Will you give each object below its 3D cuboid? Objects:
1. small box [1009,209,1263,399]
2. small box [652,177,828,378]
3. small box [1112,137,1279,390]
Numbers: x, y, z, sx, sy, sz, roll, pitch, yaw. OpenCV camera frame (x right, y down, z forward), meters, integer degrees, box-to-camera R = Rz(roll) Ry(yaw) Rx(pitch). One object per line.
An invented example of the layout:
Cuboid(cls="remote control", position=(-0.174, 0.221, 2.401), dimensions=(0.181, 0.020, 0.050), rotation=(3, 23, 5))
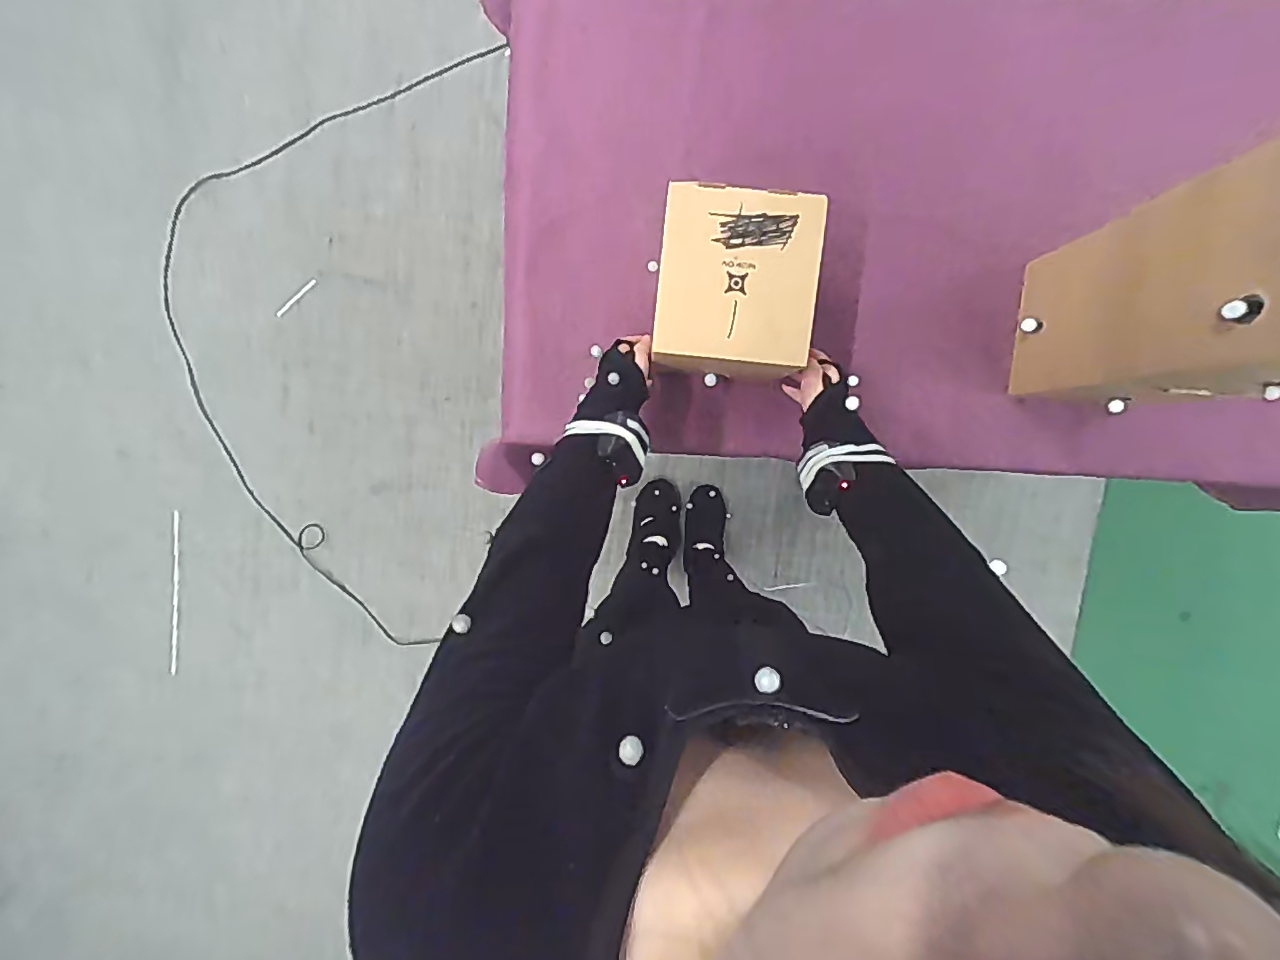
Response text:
Cuboid(cls="small box", position=(0.569, -0.188, 0.627), dimensions=(0.168, 0.176, 0.179), rotation=(5, 96, 1))
Cuboid(cls="small box", position=(0.104, -0.223, 0.637), dimensions=(0.168, 0.176, 0.179), rotation=(6, 96, 1))
Cuboid(cls="small box", position=(0.560, -0.173, 0.462), dimensions=(0.168, 0.176, 0.179), rotation=(4, 95, 1))
